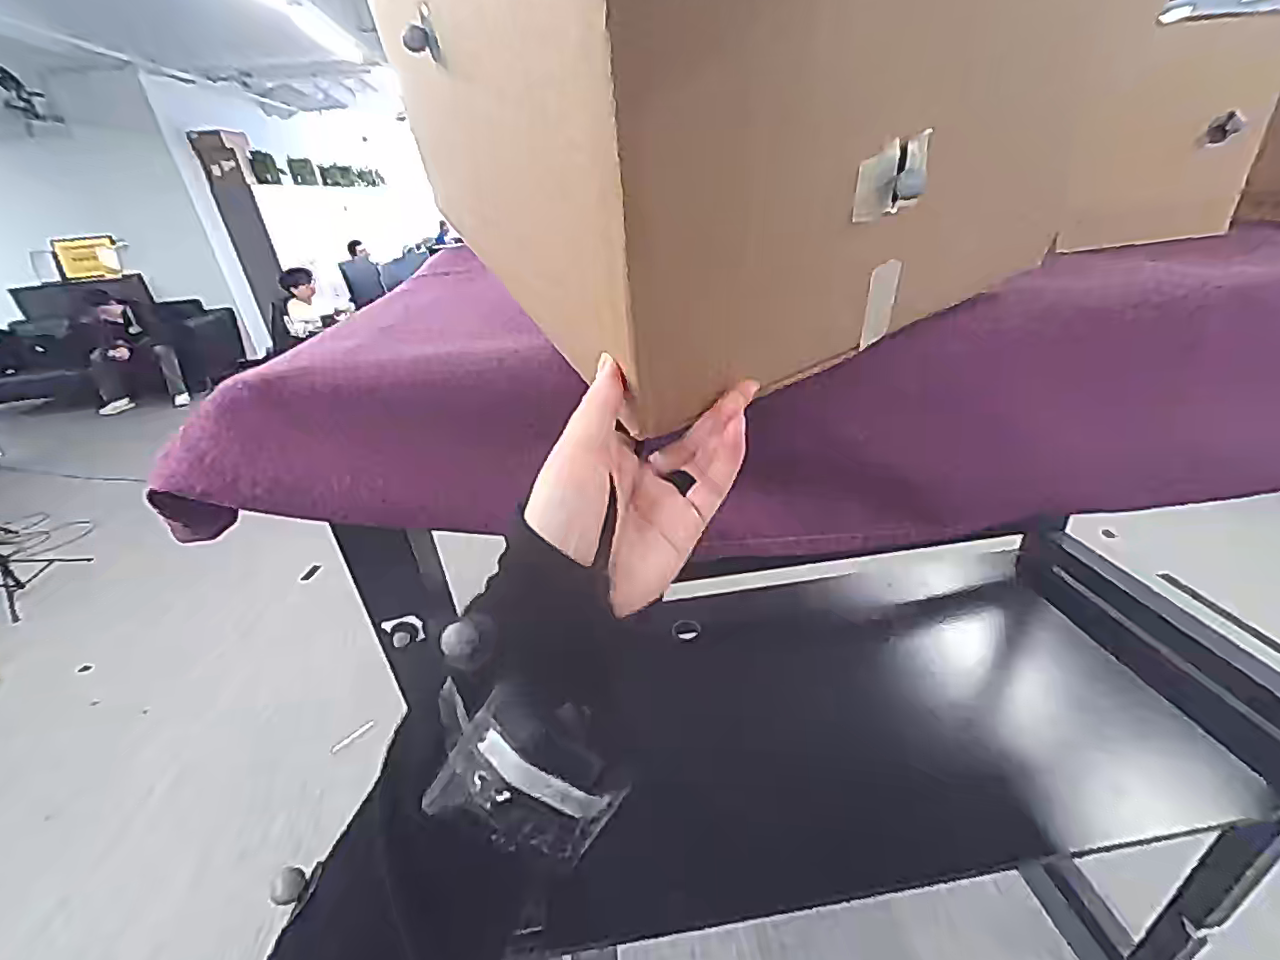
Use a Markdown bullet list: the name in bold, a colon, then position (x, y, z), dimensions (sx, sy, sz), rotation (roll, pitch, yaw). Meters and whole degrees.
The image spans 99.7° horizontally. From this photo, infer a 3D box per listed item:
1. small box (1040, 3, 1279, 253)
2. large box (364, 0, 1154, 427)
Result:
- **small box**: position (0.437, -0.326, 0.525), dimensions (0.179, 0.176, 0.168), rotation (-8, 28, -3)
- **large box**: position (0.024, -0.297, 0.330), dimensions (0.320, 0.320, 0.408), rotation (-25, 47, -18)
